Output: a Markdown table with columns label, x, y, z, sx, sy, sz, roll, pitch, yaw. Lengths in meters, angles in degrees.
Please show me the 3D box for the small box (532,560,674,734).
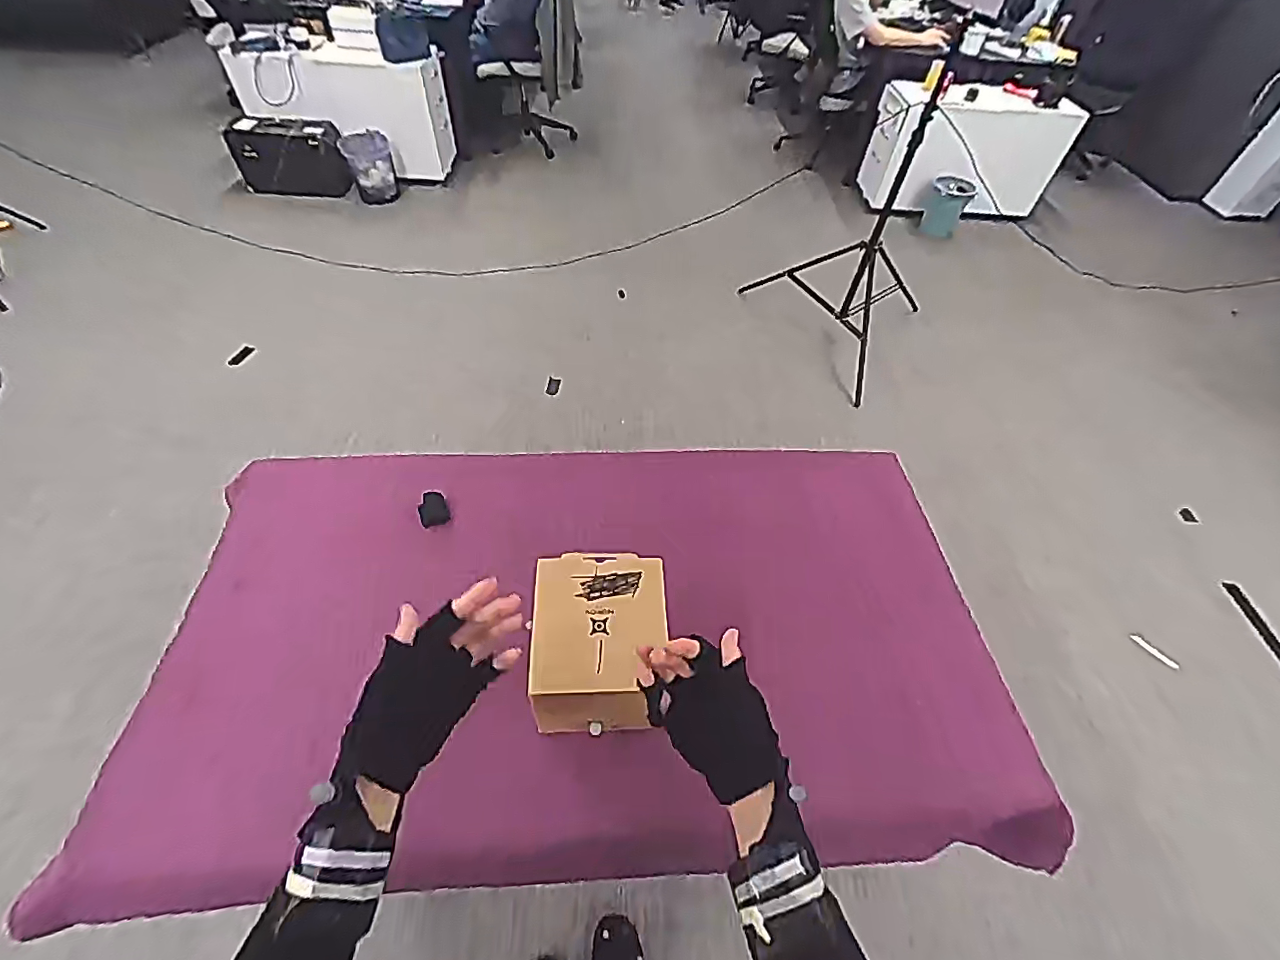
| label | x | y | z | sx | sy | sz | roll | pitch | yaw |
| --- | --- | --- | --- | --- | --- | --- | --- | --- | --- |
| small box | -0.050 | 0.224 | 0.726 | 0.168 | 0.176 | 0.179 | 0 | 51 | -4 |
